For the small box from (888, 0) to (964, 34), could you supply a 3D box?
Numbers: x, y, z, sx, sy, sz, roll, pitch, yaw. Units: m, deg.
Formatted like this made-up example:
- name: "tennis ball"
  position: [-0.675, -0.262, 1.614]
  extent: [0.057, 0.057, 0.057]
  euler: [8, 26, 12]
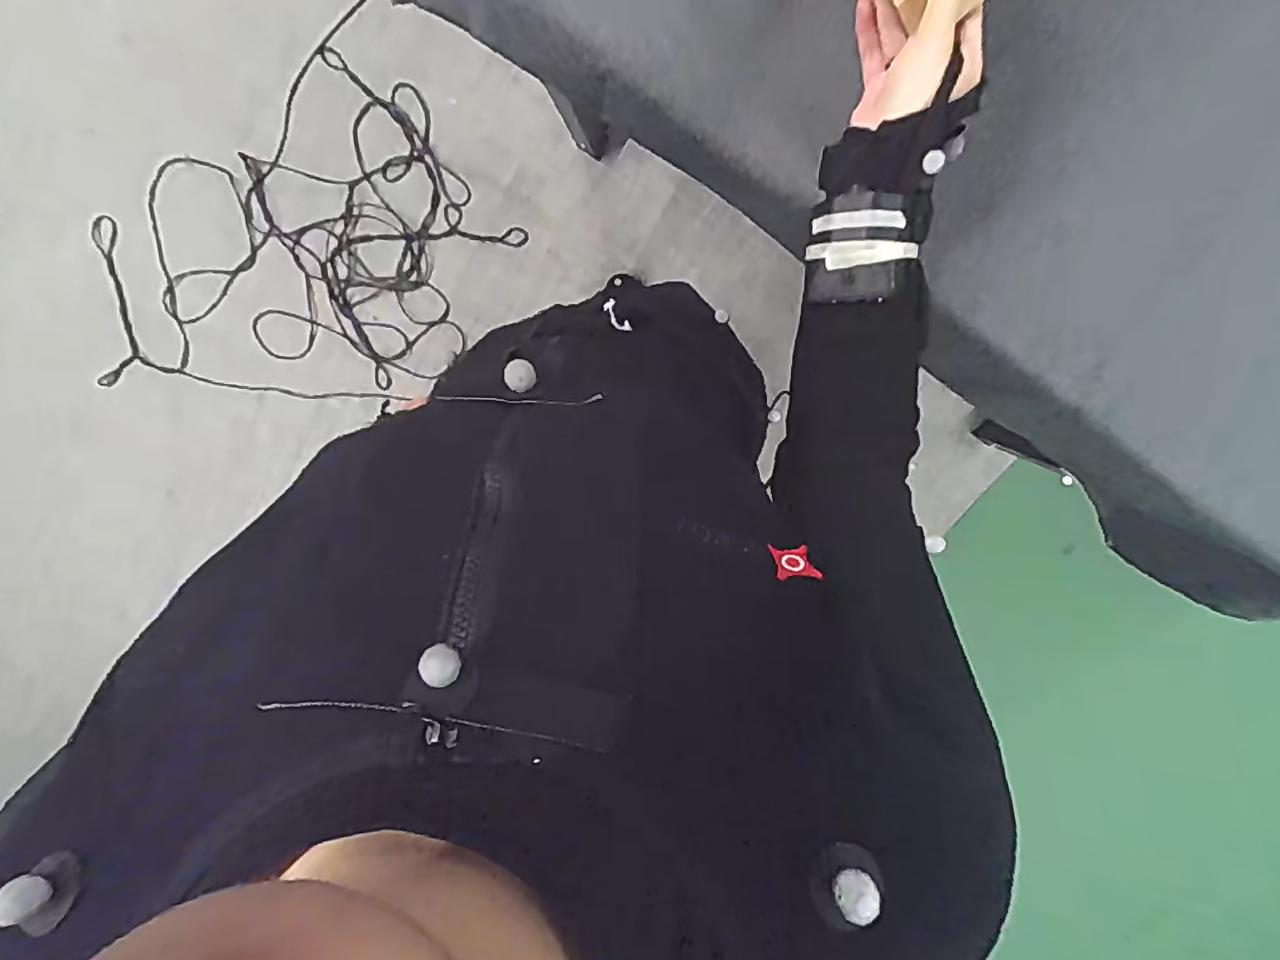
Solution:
- name: "small box"
  position: [0.178, -0.418, 0.302]
  extent: [0.168, 0.176, 0.179]
  euler: [28, 133, -36]
